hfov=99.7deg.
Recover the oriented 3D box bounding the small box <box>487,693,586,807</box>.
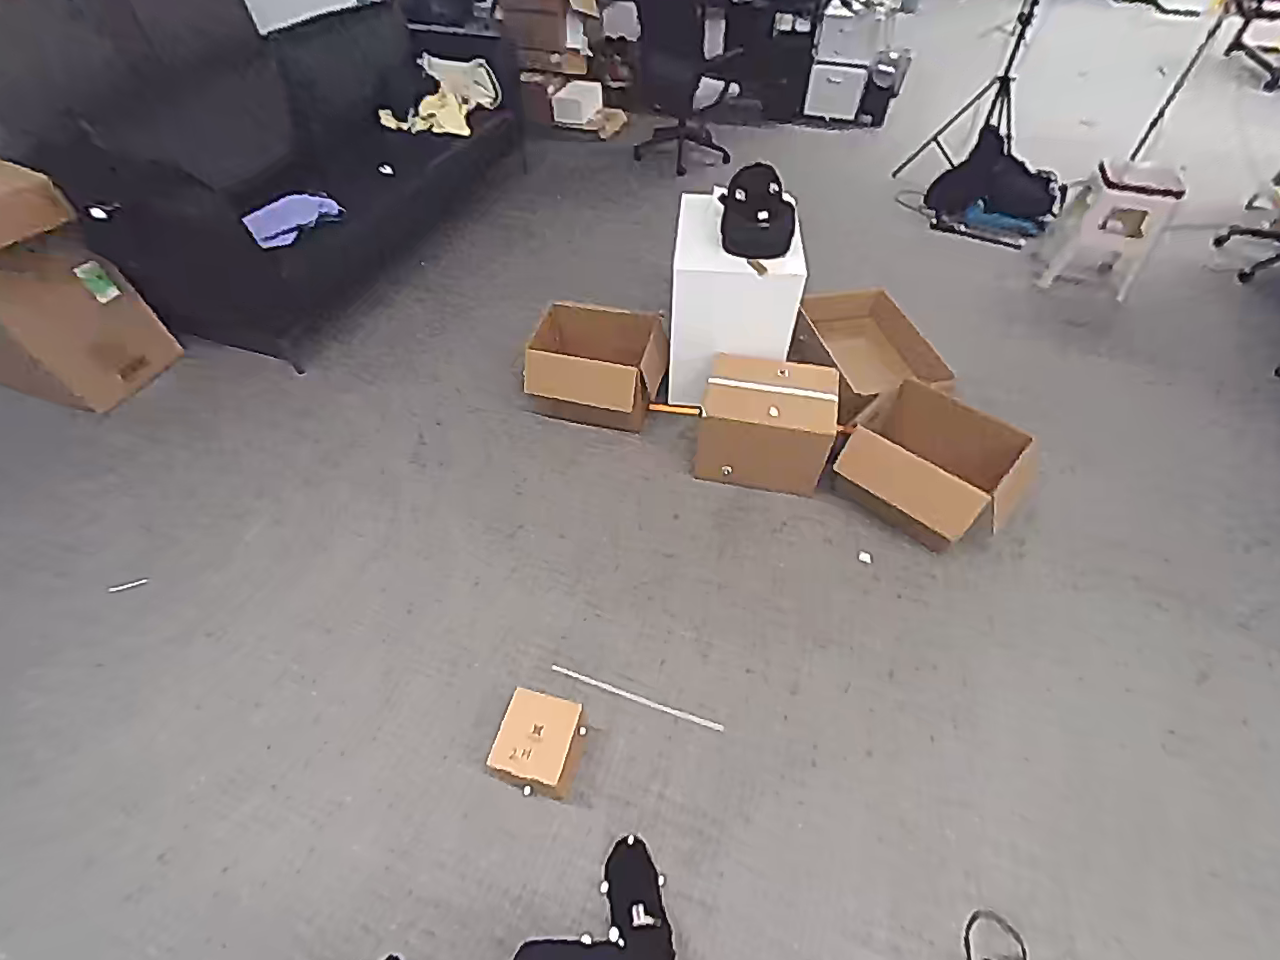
[{"bbox_3d":[-0.231,0.629,1.258,0.168,0.176,0.179,12,51,11],"label":"small box"}]
